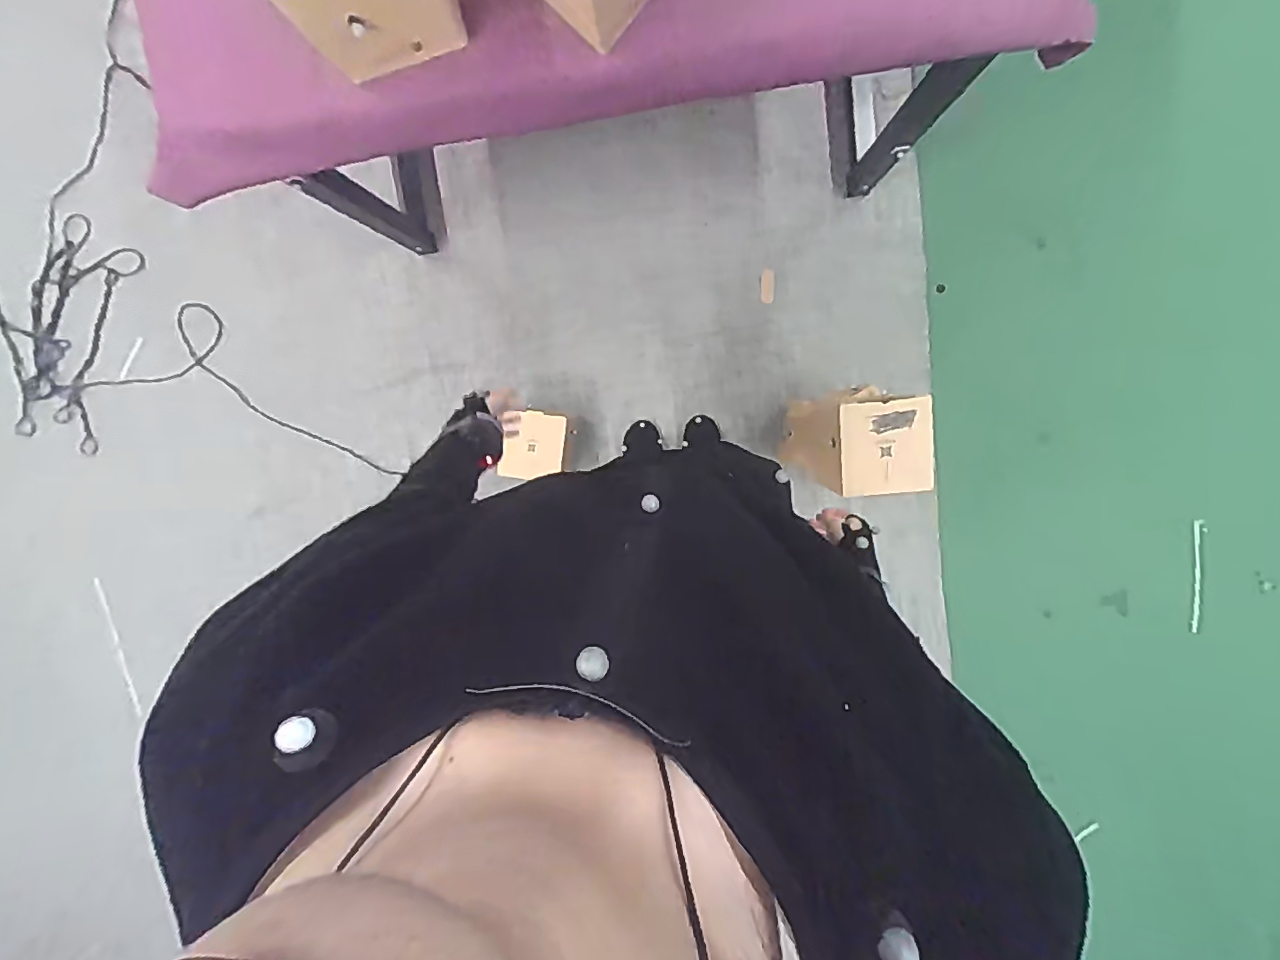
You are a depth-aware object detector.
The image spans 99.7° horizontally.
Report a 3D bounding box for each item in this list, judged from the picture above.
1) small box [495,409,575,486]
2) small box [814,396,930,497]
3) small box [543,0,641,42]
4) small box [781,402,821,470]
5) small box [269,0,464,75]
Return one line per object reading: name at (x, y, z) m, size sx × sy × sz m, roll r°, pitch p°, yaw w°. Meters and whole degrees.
small box at (-0.273, -0.093, 1.436) m, size 0.168 × 0.176 × 0.179 m, roll 9°, pitch 100°, yaw 3°
small box at (0.447, -0.070, 1.062) m, size 0.168 × 0.176 × 0.179 m, roll -5°, pitch 100°, yaw 4°
small box at (-0.061, -0.647, 0.600) m, size 0.179 × 0.176 × 0.168 m, roll 42°, pitch 98°, yaw -3°
small box at (0.468, -0.112, 1.387) m, size 0.179 × 0.176 × 0.168 m, roll 4°, pitch 99°, yaw 3°
small box at (-0.326, -0.613, 0.623) m, size 0.168 × 0.176 × 0.179 m, roll -14°, pitch 96°, yaw 5°
